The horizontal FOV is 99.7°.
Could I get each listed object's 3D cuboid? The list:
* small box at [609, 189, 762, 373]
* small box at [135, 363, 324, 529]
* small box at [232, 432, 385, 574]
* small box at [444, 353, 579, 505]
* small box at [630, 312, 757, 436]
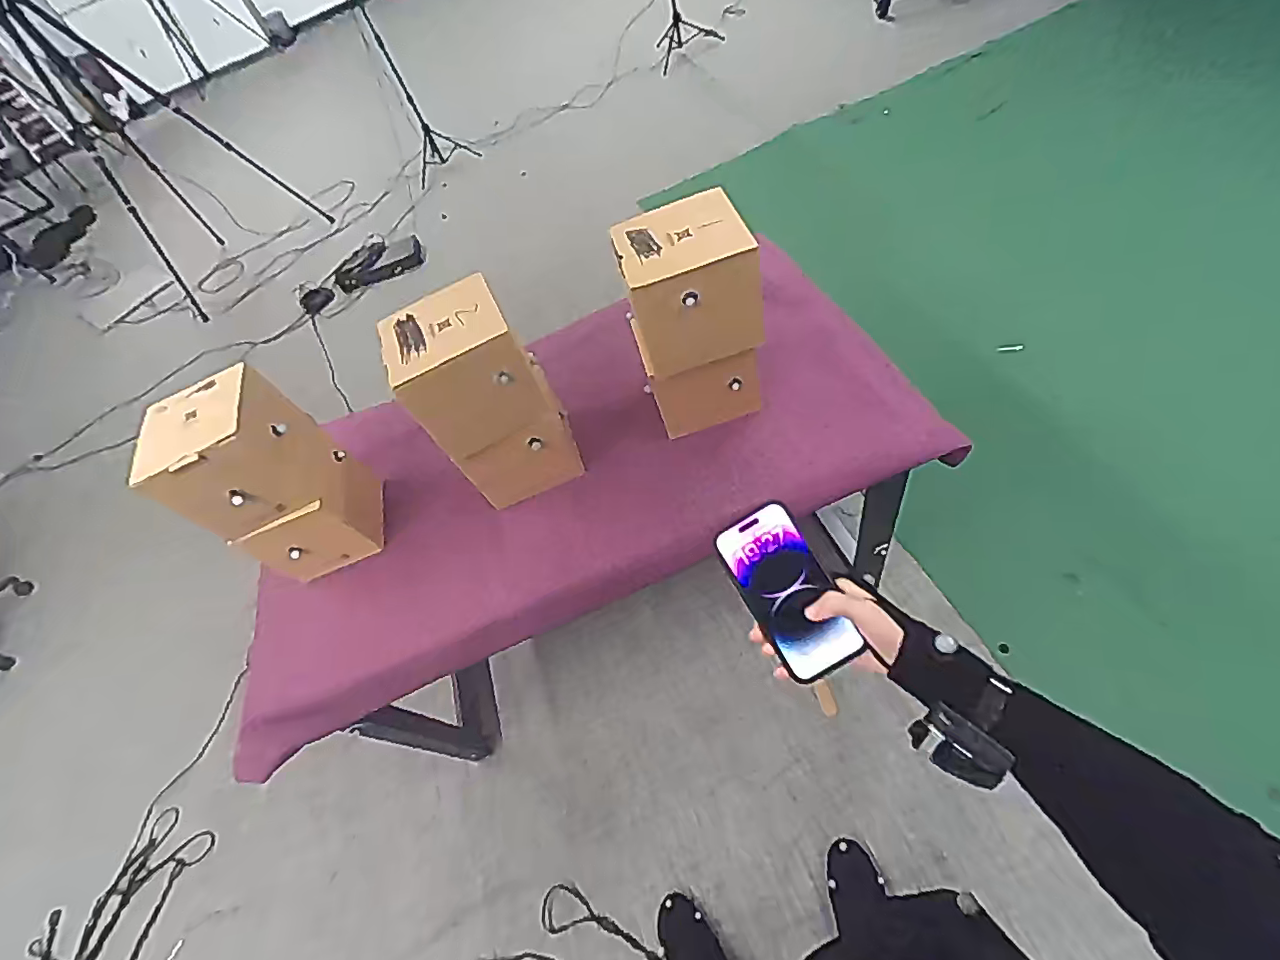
[{"bbox_3d":[0.070,-0.286,0.801,0.179,0.176,0.168,-18,54,4],"label":"small box"},{"bbox_3d":[-0.629,-0.043,0.853,0.168,0.176,0.179,-26,54,-2],"label":"small box"},{"bbox_3d":[-0.586,0.051,0.980,0.168,0.176,0.179,-22,54,2],"label":"small box"},{"bbox_3d":[-0.220,-0.085,0.957,0.179,0.176,0.168,-23,54,2],"label":"small box"},{"bbox_3d":[0.099,-0.206,0.942,0.179,0.176,0.168,-18,54,6],"label":"small box"}]
